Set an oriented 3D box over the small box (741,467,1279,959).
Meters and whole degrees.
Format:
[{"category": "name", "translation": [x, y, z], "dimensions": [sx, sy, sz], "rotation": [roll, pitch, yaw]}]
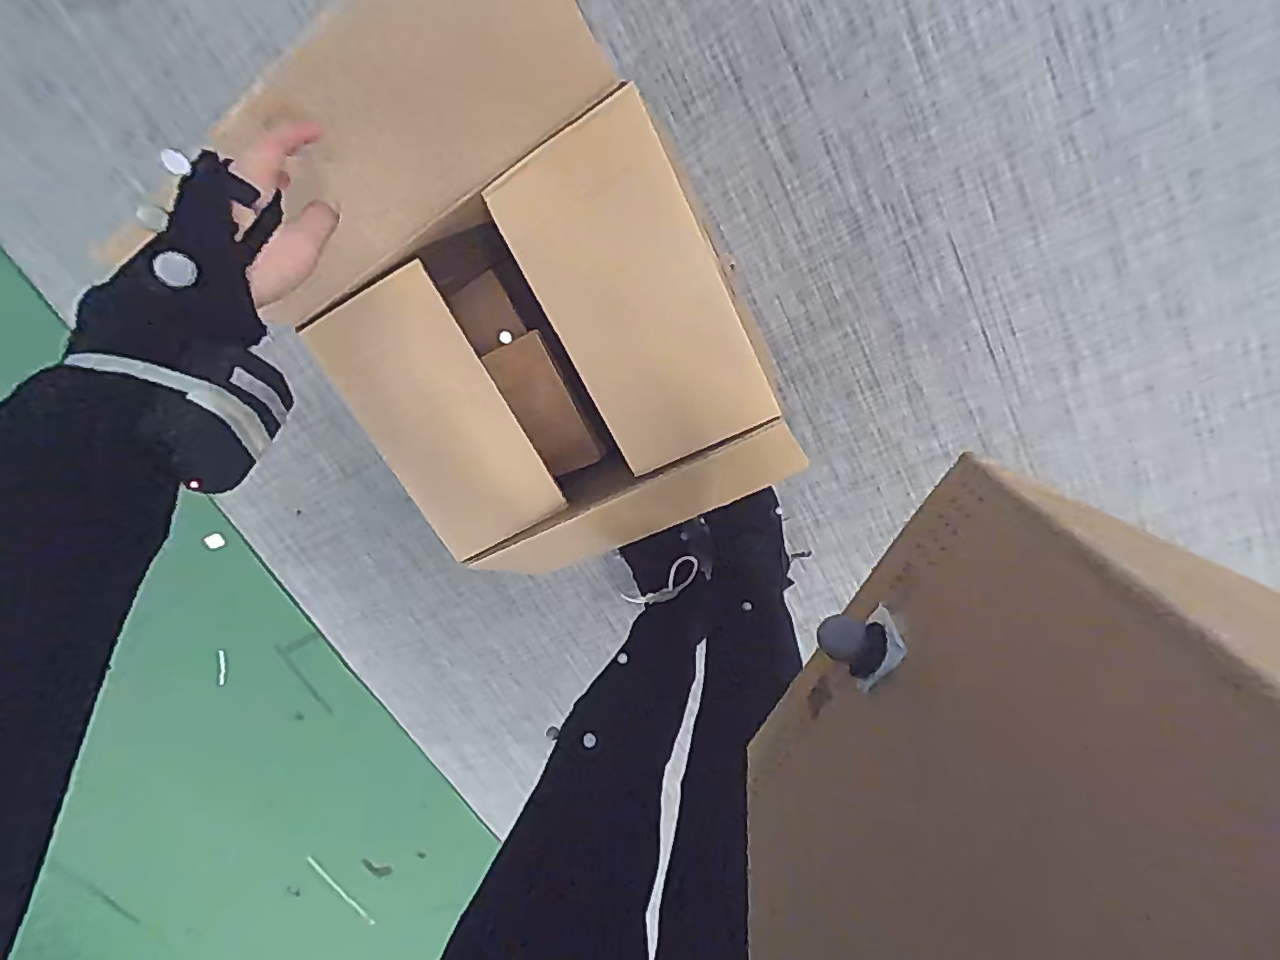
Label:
[{"category": "small box", "translation": [0.143, 0.116, 0.155], "dimensions": [0.179, 0.176, 0.168], "rotation": [25, 111, 2]}]
